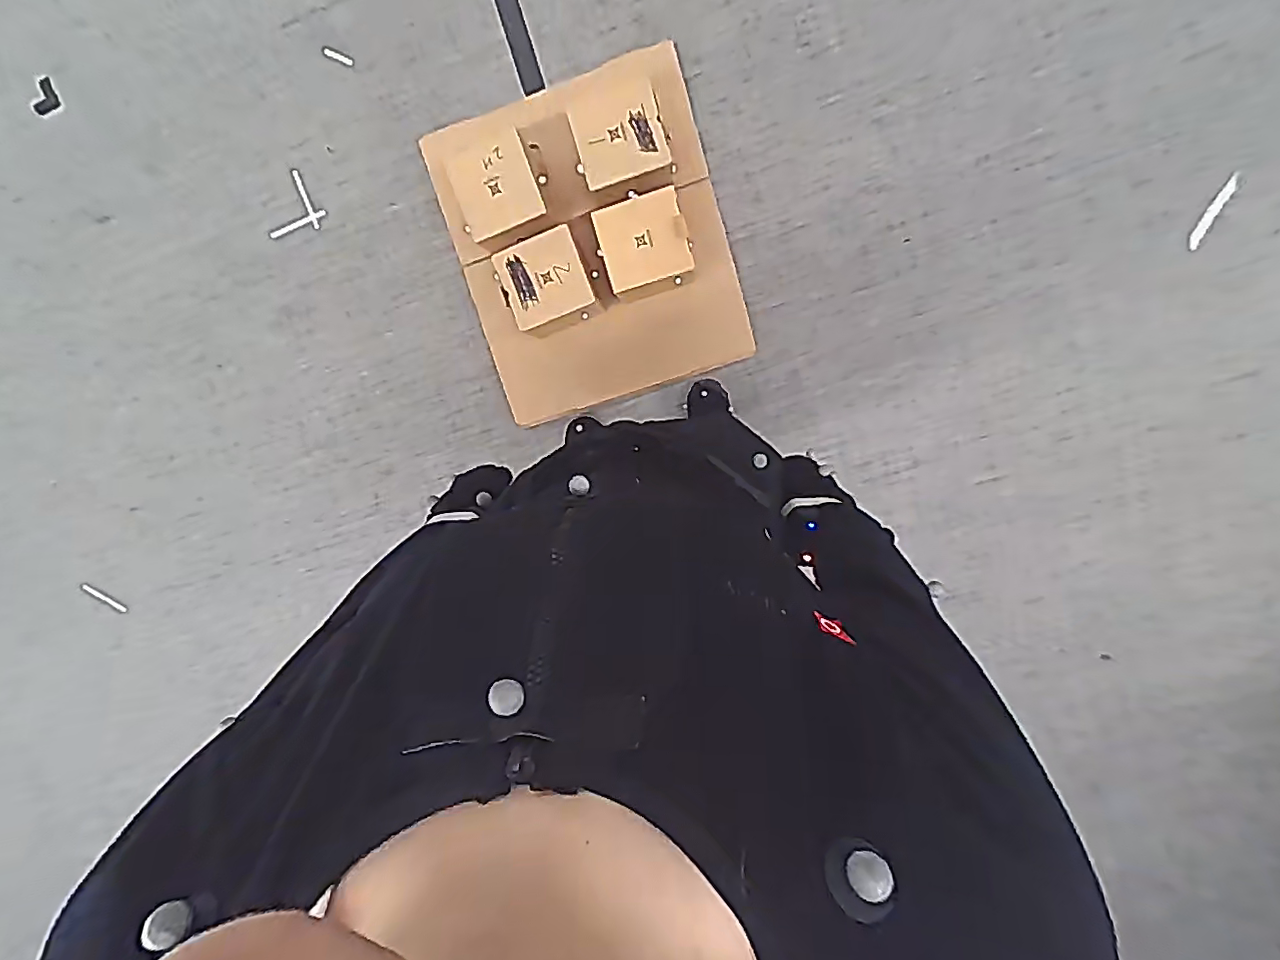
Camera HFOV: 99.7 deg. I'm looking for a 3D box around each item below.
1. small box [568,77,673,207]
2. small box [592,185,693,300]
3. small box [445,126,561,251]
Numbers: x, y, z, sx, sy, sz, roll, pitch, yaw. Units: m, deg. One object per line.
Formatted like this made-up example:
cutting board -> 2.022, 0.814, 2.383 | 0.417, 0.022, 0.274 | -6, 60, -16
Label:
small box -> -0.034, -0.695, 1.138 | 0.179, 0.176, 0.168 | -15, 100, 7
small box -> 0.010, -0.502, 1.169 | 0.179, 0.176, 0.168 | -14, 99, 5
small box -> -0.285, -0.615, 1.172 | 0.168, 0.176, 0.179 | -18, 99, 7
